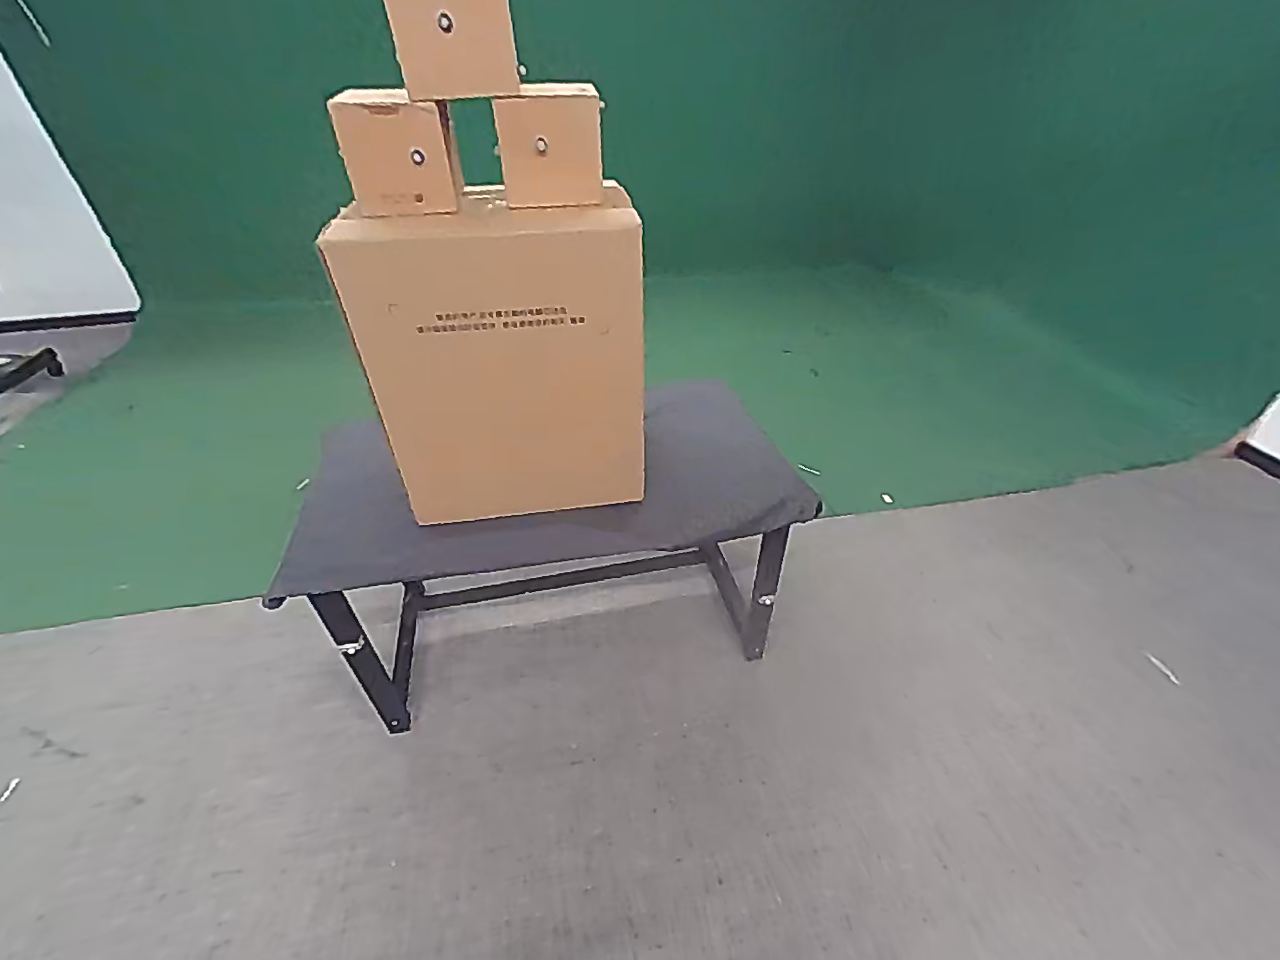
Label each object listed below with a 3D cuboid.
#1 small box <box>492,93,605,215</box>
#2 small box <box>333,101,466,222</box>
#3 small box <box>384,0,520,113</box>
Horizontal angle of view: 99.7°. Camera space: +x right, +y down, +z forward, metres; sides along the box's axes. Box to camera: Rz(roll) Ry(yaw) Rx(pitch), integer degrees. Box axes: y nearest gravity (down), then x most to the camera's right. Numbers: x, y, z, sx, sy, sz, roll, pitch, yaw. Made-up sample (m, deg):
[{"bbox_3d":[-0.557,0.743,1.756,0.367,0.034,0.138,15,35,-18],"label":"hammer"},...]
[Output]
[{"bbox_3d":[-0.162,-0.600,0.998,0.179,0.176,0.168,-6,42,-5],"label":"small box"},{"bbox_3d":[-0.415,-0.569,0.968,0.168,0.176,0.179,-6,40,-8],"label":"small box"},{"bbox_3d":[-0.292,-0.709,0.875,0.179,0.176,0.168,-8,41,-6],"label":"small box"}]
